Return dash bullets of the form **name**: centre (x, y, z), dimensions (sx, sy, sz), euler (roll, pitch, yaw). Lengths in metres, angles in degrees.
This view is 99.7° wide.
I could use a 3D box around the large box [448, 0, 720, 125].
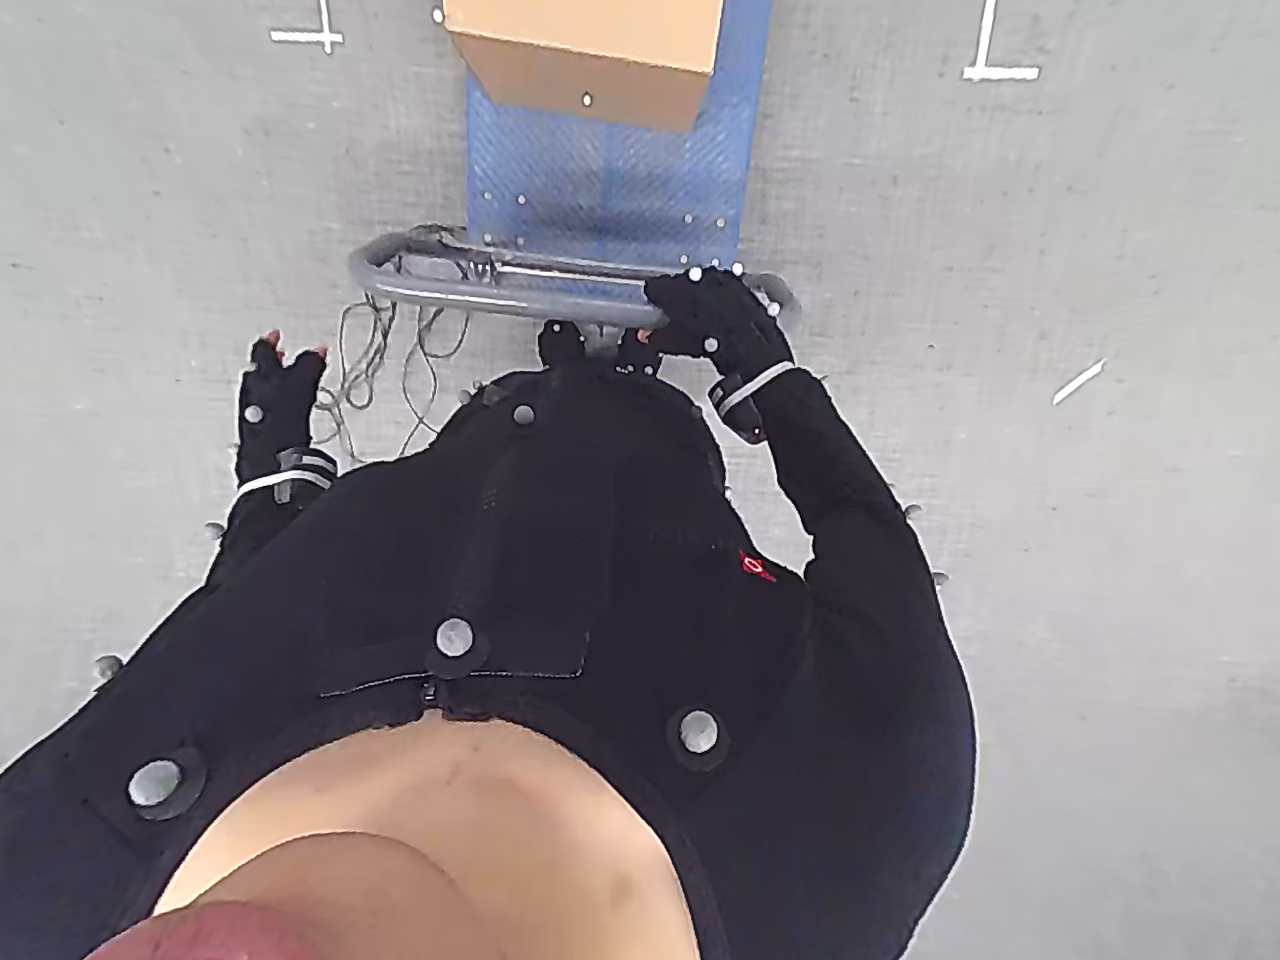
- **large box**: centre (-0.072, -0.833, 0.906), dimensions (0.408, 0.320, 0.320), euler (7, 108, -3)
